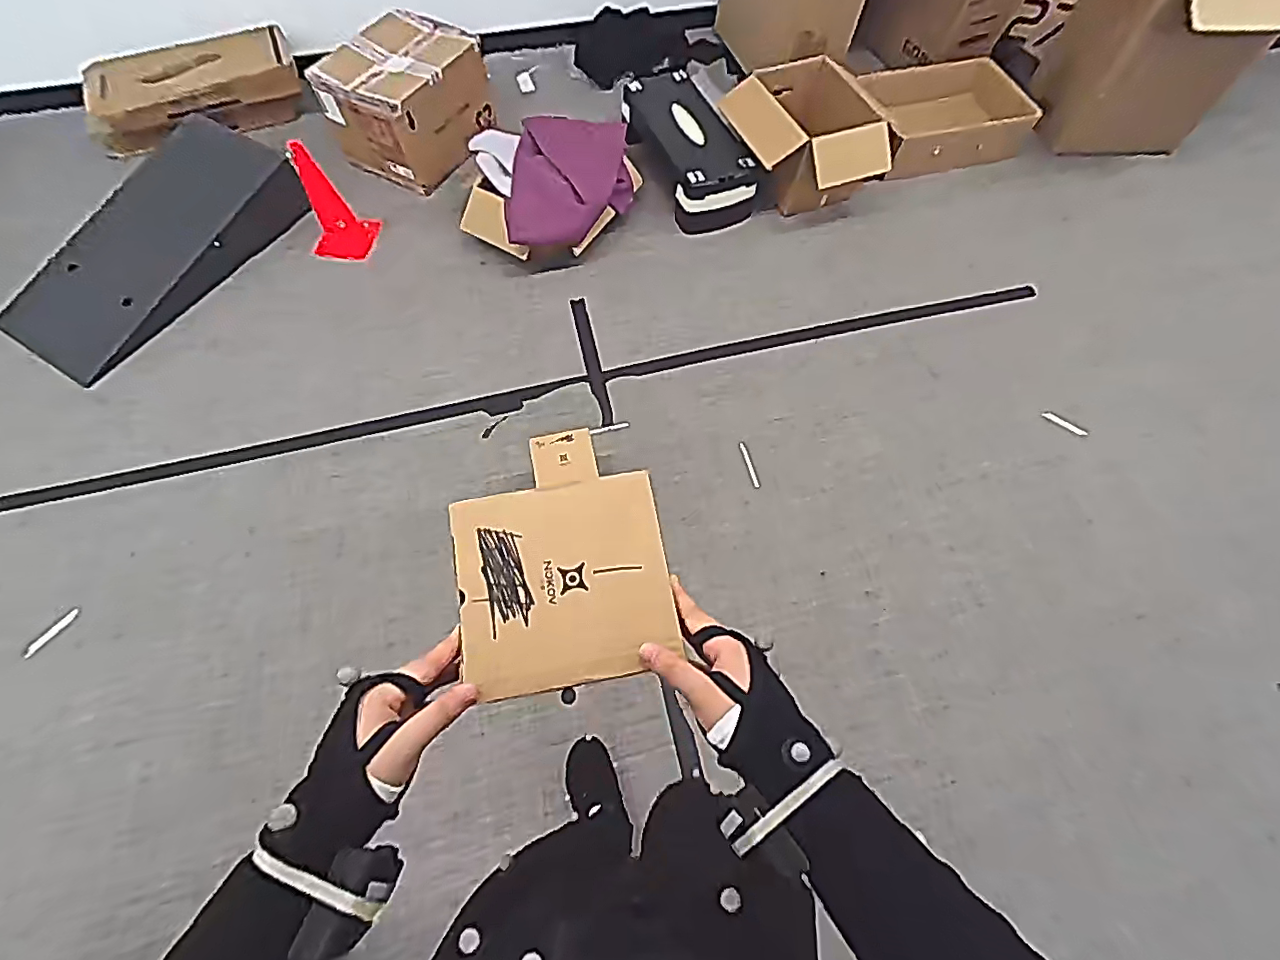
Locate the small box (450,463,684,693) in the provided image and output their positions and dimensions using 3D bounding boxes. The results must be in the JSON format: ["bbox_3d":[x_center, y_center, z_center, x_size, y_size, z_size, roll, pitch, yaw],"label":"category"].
[{"bbox_3d":[-0.064,0.101,0.512,0.179,0.176,0.168,-9,71,-4],"label":"small box"}]

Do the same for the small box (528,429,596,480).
[{"bbox_3d":[-0.202,-0.012,1.486,0.168,0.176,0.179,-11,66,-6],"label":"small box"}]
